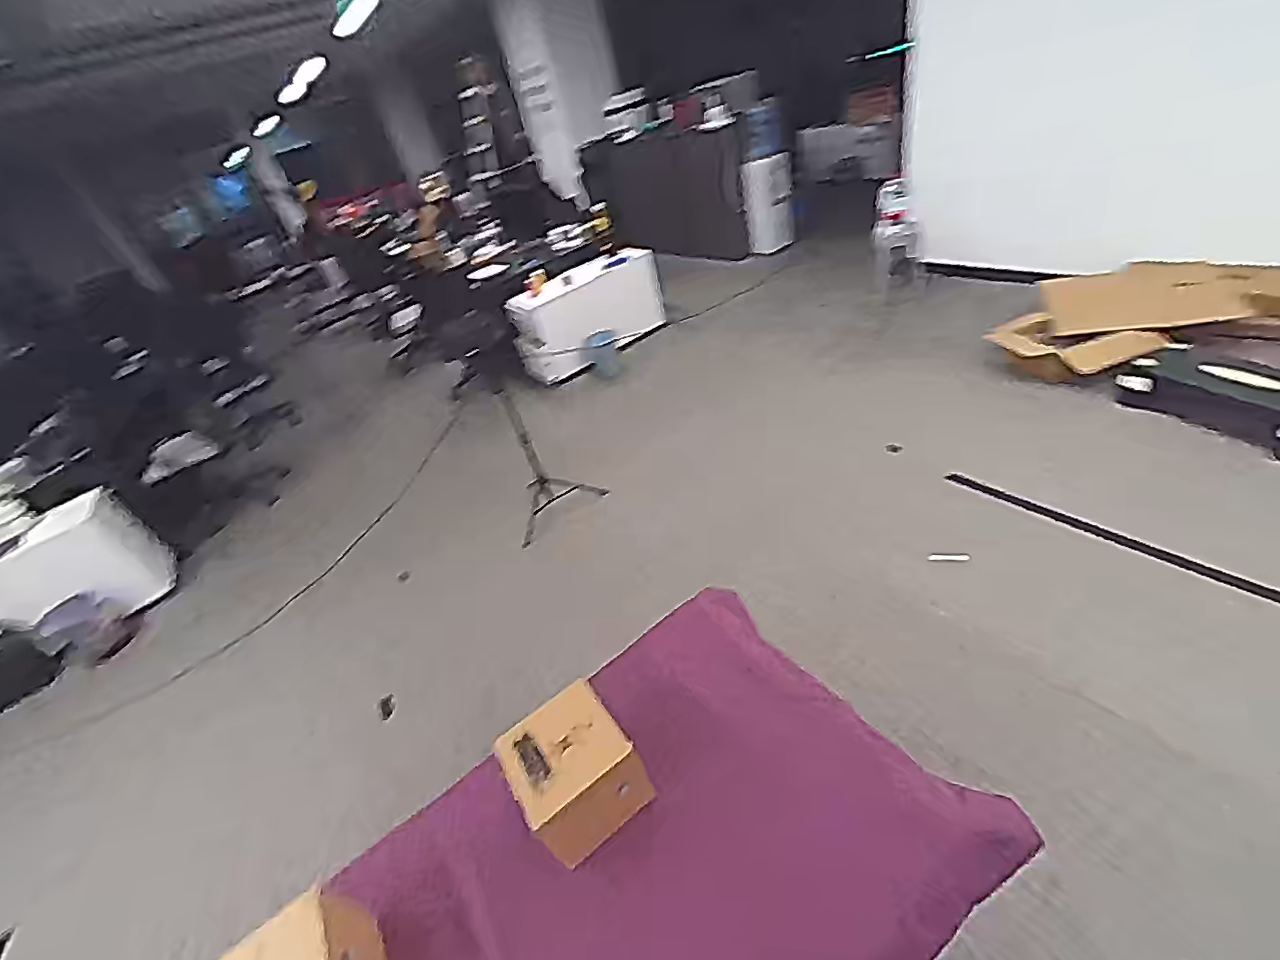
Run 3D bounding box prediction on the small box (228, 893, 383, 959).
[{"bbox_3d":[-0.456,0.720,0.727,0.168,0.176,0.179,-34,39,-21],"label":"small box"}]
